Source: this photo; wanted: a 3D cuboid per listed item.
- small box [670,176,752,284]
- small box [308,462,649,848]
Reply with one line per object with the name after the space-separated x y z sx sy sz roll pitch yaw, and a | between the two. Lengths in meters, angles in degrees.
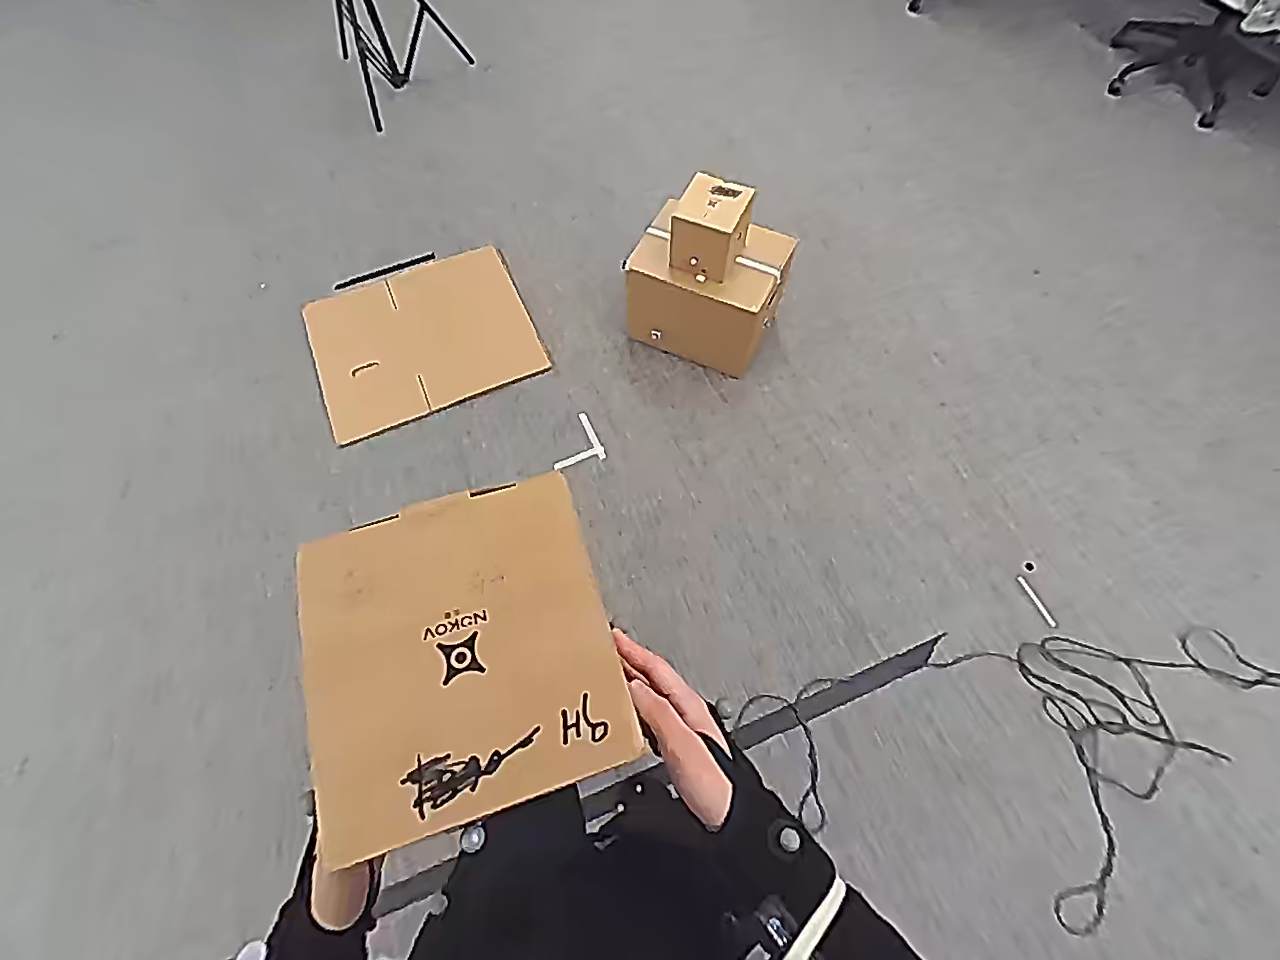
0.184 -0.668 1.454 0.168 0.176 0.179 22 68 11 | small box
-0.099 0.117 0.377 0.168 0.176 0.179 -17 66 -8 | small box
